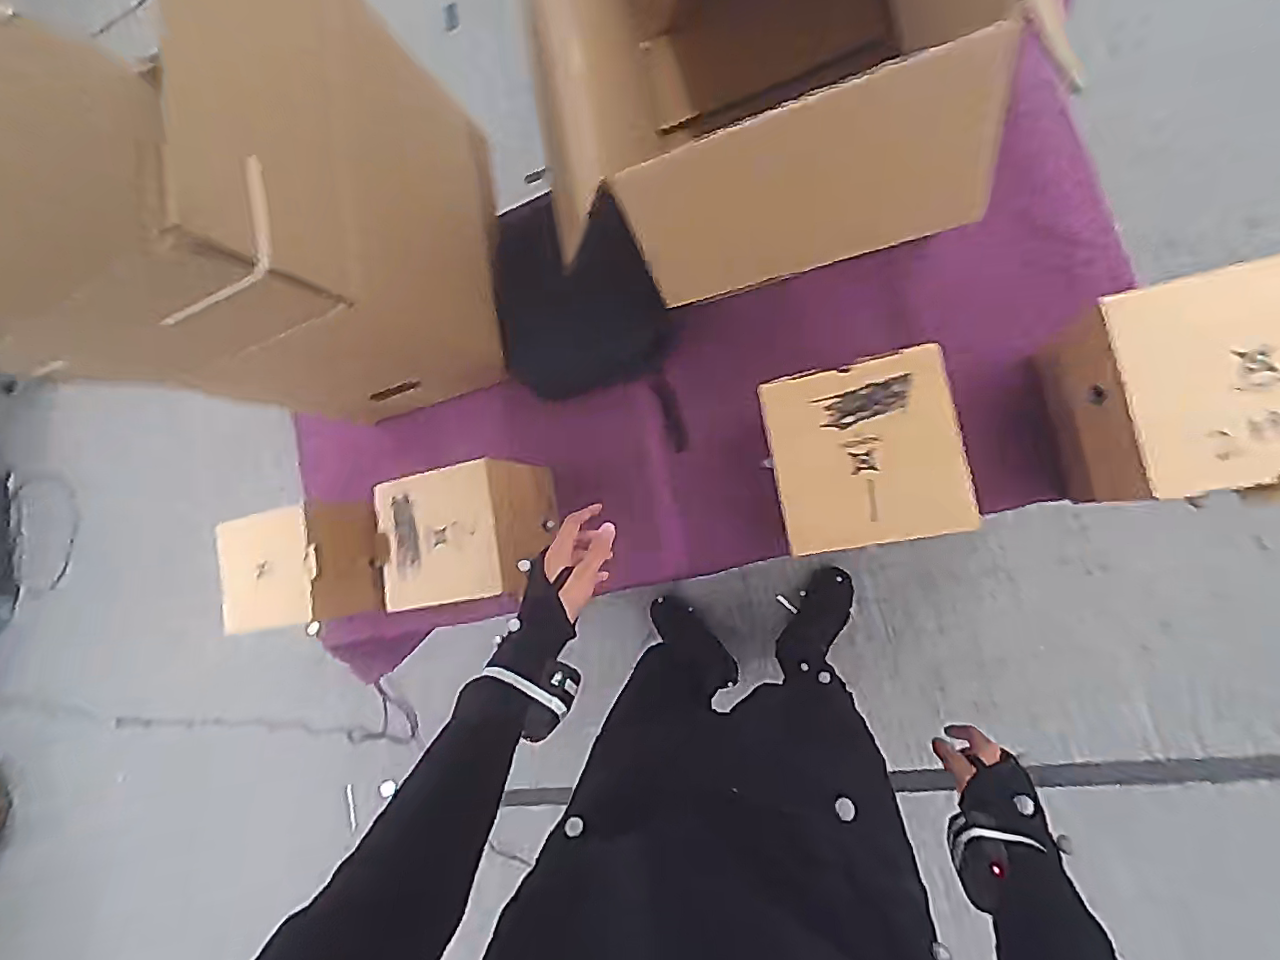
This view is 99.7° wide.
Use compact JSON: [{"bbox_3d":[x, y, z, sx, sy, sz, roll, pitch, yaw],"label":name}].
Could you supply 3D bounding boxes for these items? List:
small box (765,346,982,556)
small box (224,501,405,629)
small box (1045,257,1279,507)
[{"bbox_3d":[0.238,-0.020,0.582,0.168,0.176,0.179,-11,83,19],"label":"small box"},{"bbox_3d":[-0.500,0.129,0.842,0.179,0.176,0.168,-11,83,18],"label":"small box"},{"bbox_3d":[0.501,-0.074,0.487,0.168,0.176,0.179,-11,83,20],"label":"small box"}]
